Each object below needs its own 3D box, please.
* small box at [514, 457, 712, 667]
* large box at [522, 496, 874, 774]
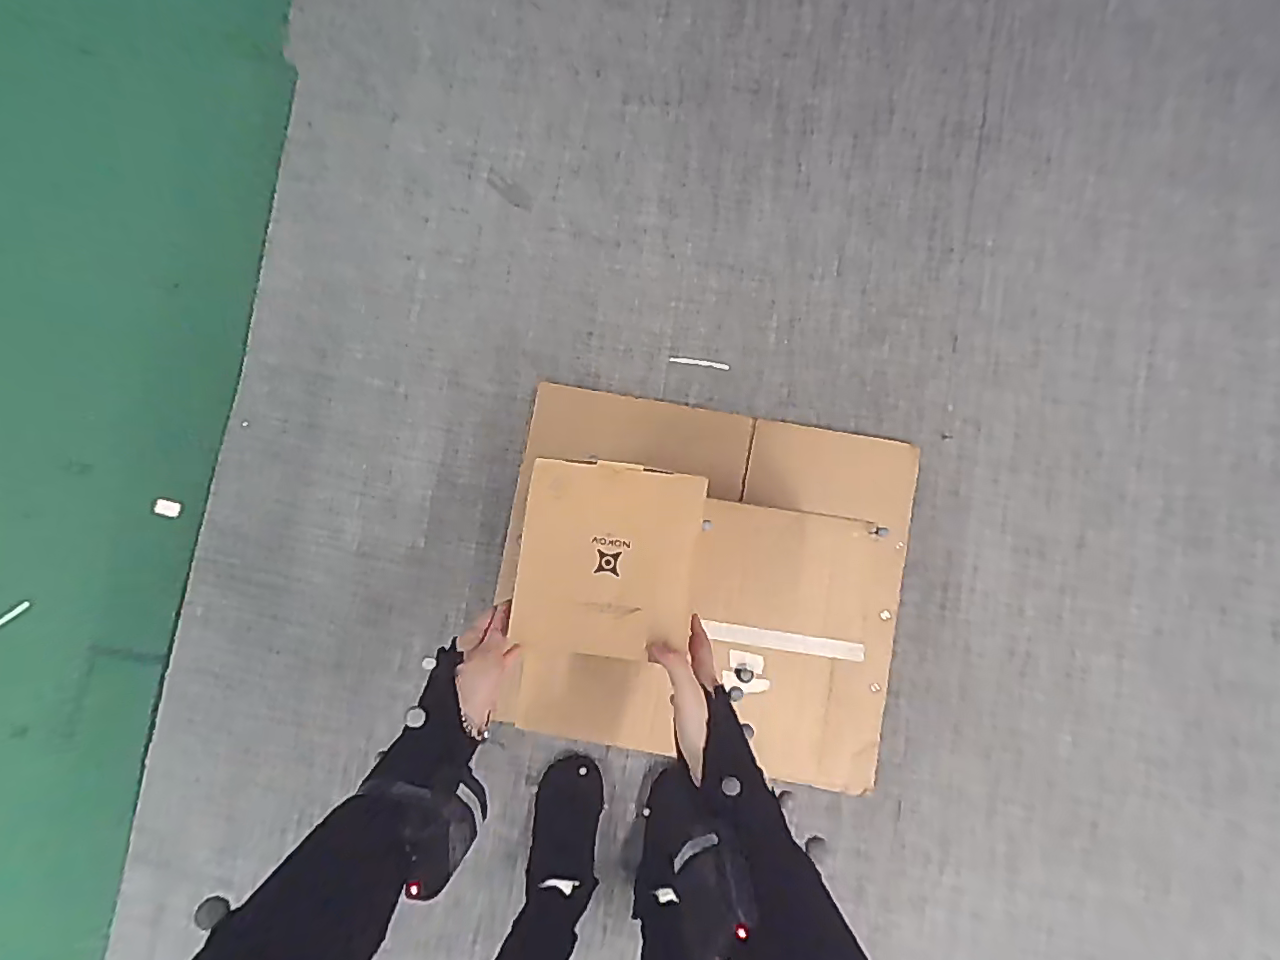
[{"bbox_3d":[-0.021,0.081,0.574,0.168,0.176,0.179,6,85,3],"label":"small box"},{"bbox_3d":[0.074,0.188,0.804,0.408,0.320,0.320,8,86,2],"label":"large box"}]
